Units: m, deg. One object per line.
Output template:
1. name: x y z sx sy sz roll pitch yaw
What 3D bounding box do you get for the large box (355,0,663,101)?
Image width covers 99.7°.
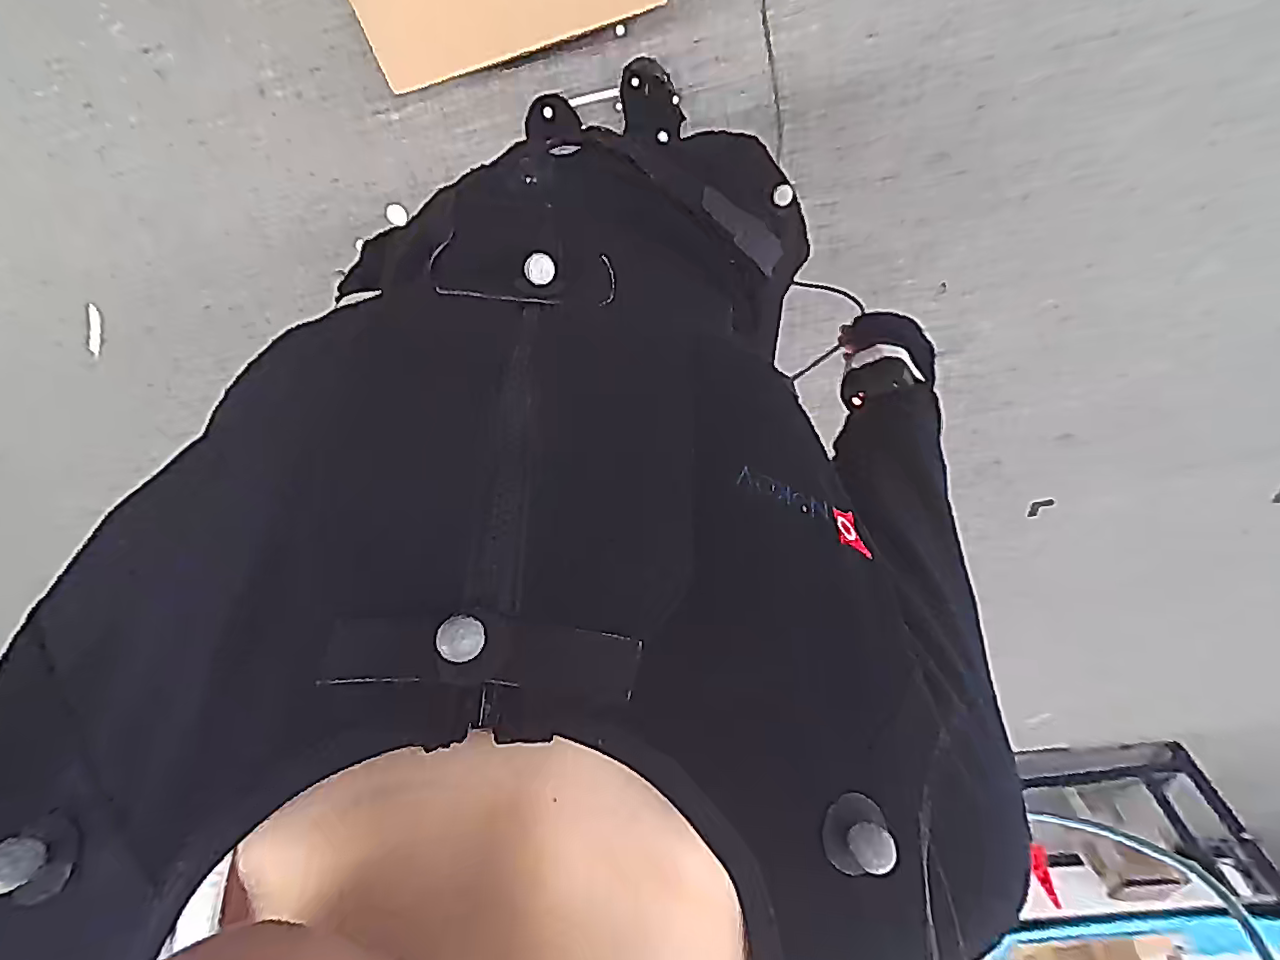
1. large box: -0.196 -0.801 0.768 0.408 0.320 0.320 -11 130 9
